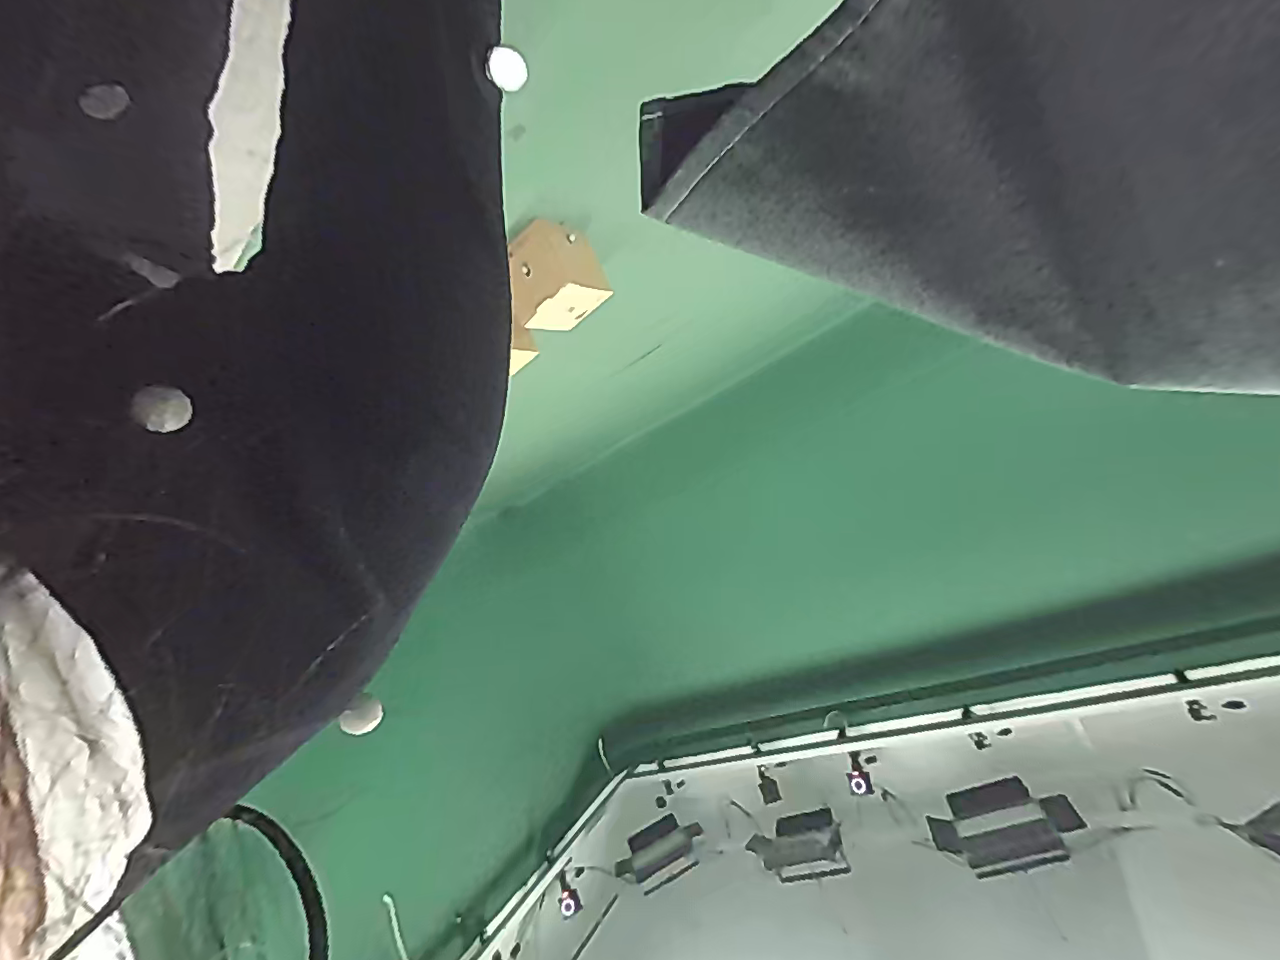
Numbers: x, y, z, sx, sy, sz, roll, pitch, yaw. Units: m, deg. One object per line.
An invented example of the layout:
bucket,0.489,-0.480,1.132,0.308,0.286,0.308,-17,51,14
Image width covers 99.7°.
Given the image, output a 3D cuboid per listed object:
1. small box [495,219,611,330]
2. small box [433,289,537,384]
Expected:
small box,-0.205,-0.474,1.260,0.168,0.176,0.179,-29,174,33
small box,-0.406,-0.365,1.398,0.179,0.176,0.168,-29,175,29
